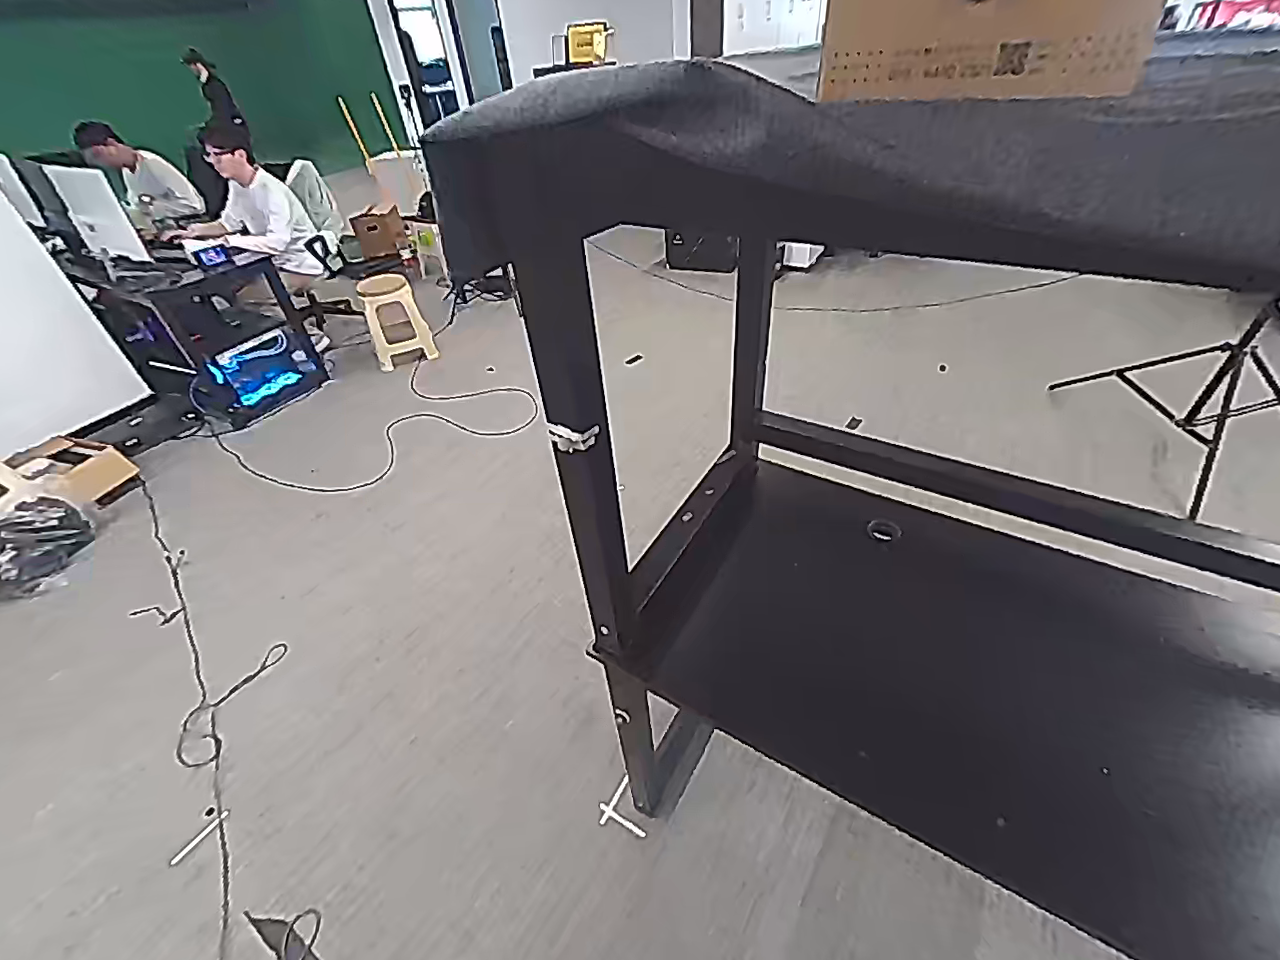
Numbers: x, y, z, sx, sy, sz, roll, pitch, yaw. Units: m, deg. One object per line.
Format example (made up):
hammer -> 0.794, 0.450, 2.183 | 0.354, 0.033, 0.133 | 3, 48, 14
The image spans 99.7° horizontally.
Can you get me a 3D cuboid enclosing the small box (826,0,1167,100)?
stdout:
small box -> 0.216, -0.337, 0.322 | 0.168, 0.176, 0.179 | 12, 42, 20
